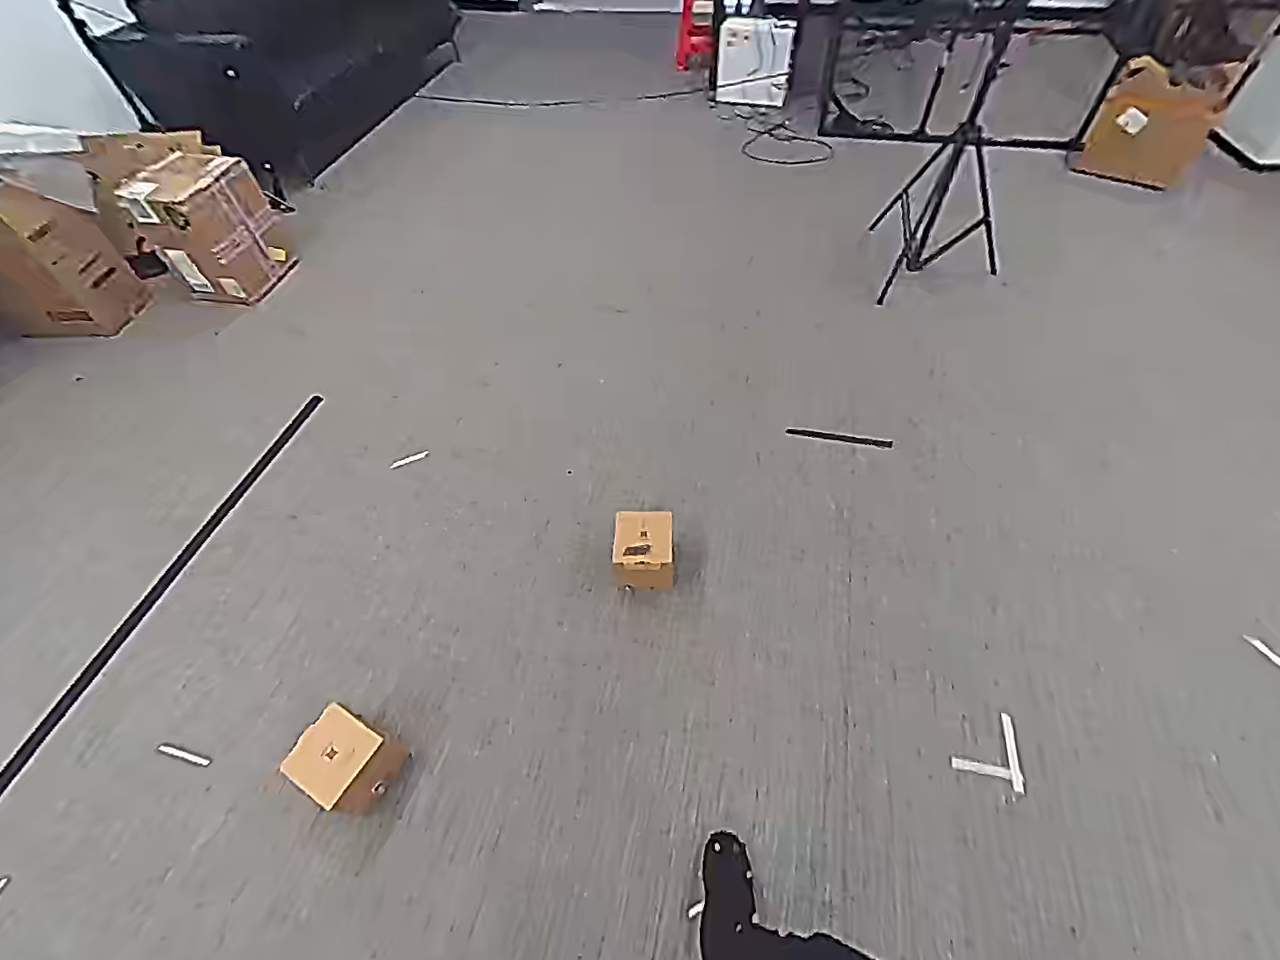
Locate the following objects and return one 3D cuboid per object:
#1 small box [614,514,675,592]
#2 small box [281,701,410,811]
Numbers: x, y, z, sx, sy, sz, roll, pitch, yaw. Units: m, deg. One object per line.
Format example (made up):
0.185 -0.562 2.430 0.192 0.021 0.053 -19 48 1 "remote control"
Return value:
0.018 0.217 1.590 0.168 0.176 0.179 1 53 4 "small box"
-0.693 0.664 1.291 0.179 0.176 0.168 24 59 18 "small box"
